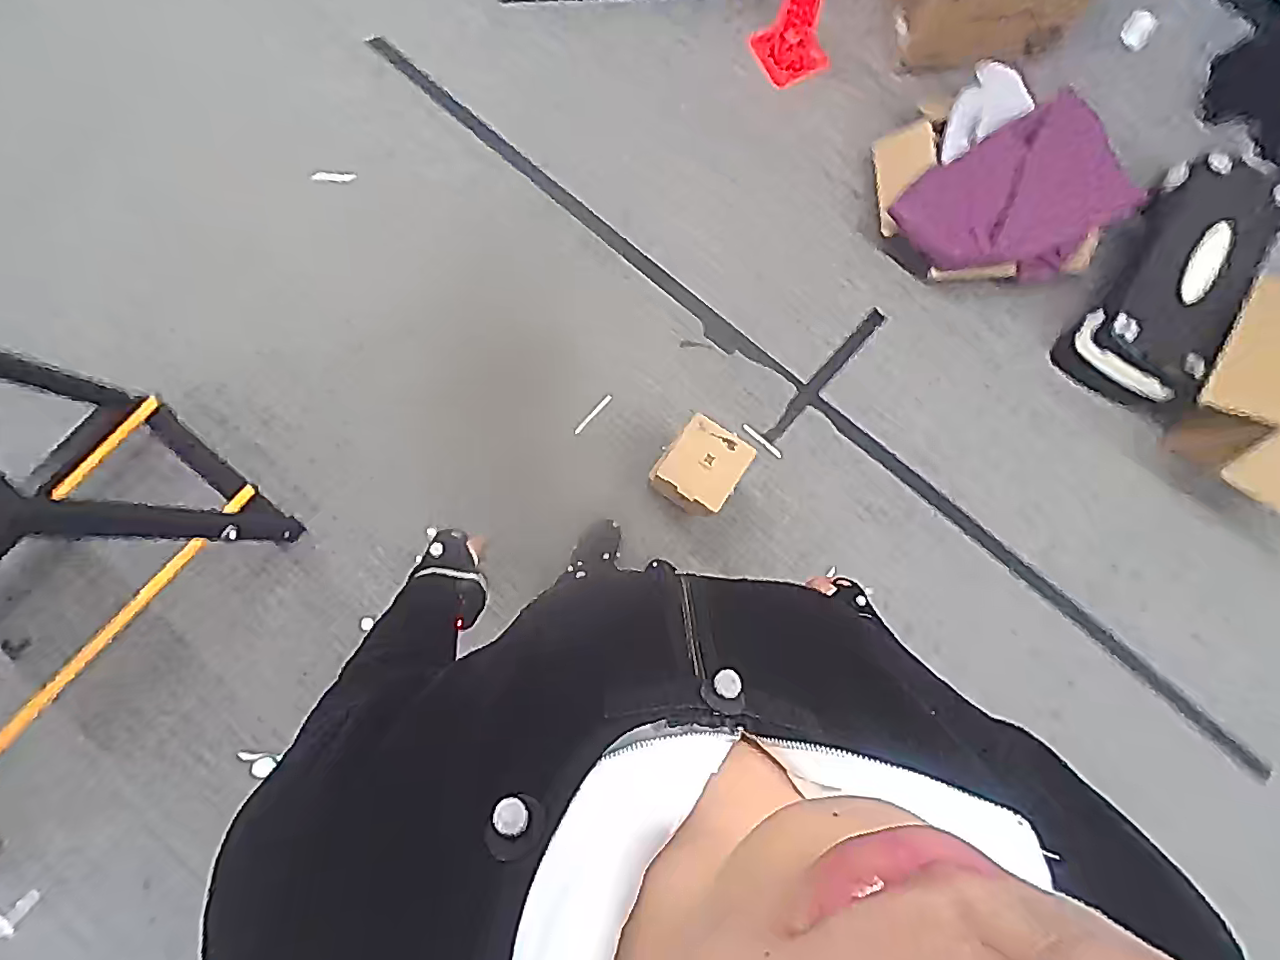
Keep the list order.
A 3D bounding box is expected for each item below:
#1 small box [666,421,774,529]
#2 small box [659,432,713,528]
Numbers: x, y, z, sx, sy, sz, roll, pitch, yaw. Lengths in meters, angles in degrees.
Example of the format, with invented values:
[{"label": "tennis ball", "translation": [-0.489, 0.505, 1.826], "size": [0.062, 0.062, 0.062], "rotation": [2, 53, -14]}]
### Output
[{"label": "small box", "translation": [0.172, -0.001, 1.214], "size": [0.168, 0.176, 0.179], "rotation": [34, 84, 4]}, {"label": "small box", "translation": [0.157, 0.006, 1.379], "size": [0.168, 0.176, 0.179], "rotation": [35, 85, 4]}]
